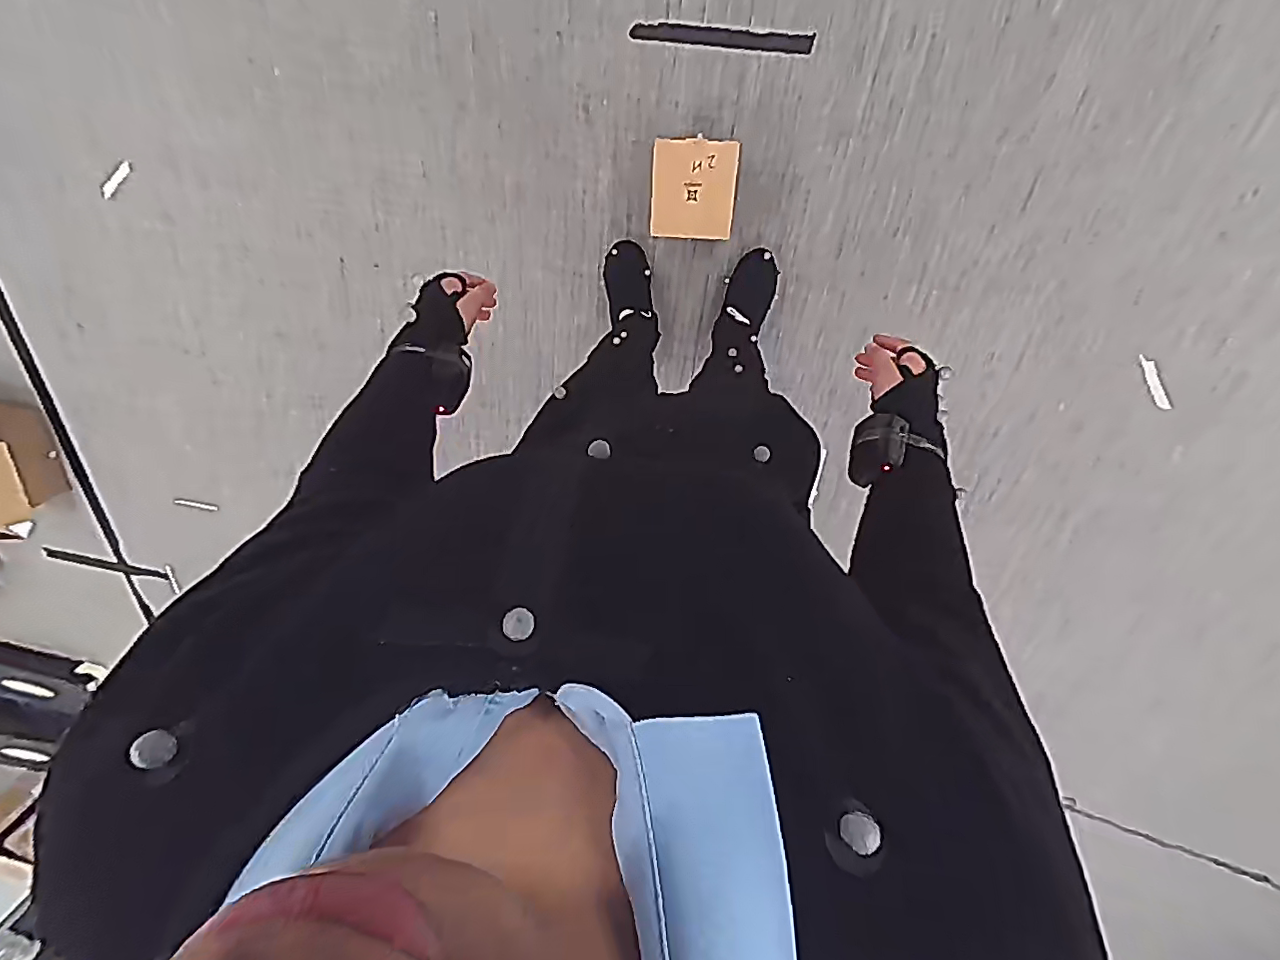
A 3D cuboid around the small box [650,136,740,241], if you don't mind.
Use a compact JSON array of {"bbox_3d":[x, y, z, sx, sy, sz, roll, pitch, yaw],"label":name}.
[{"bbox_3d":[0.116,-0.609,1.131,0.168,0.176,0.179,6,119,5],"label":"small box"}]
